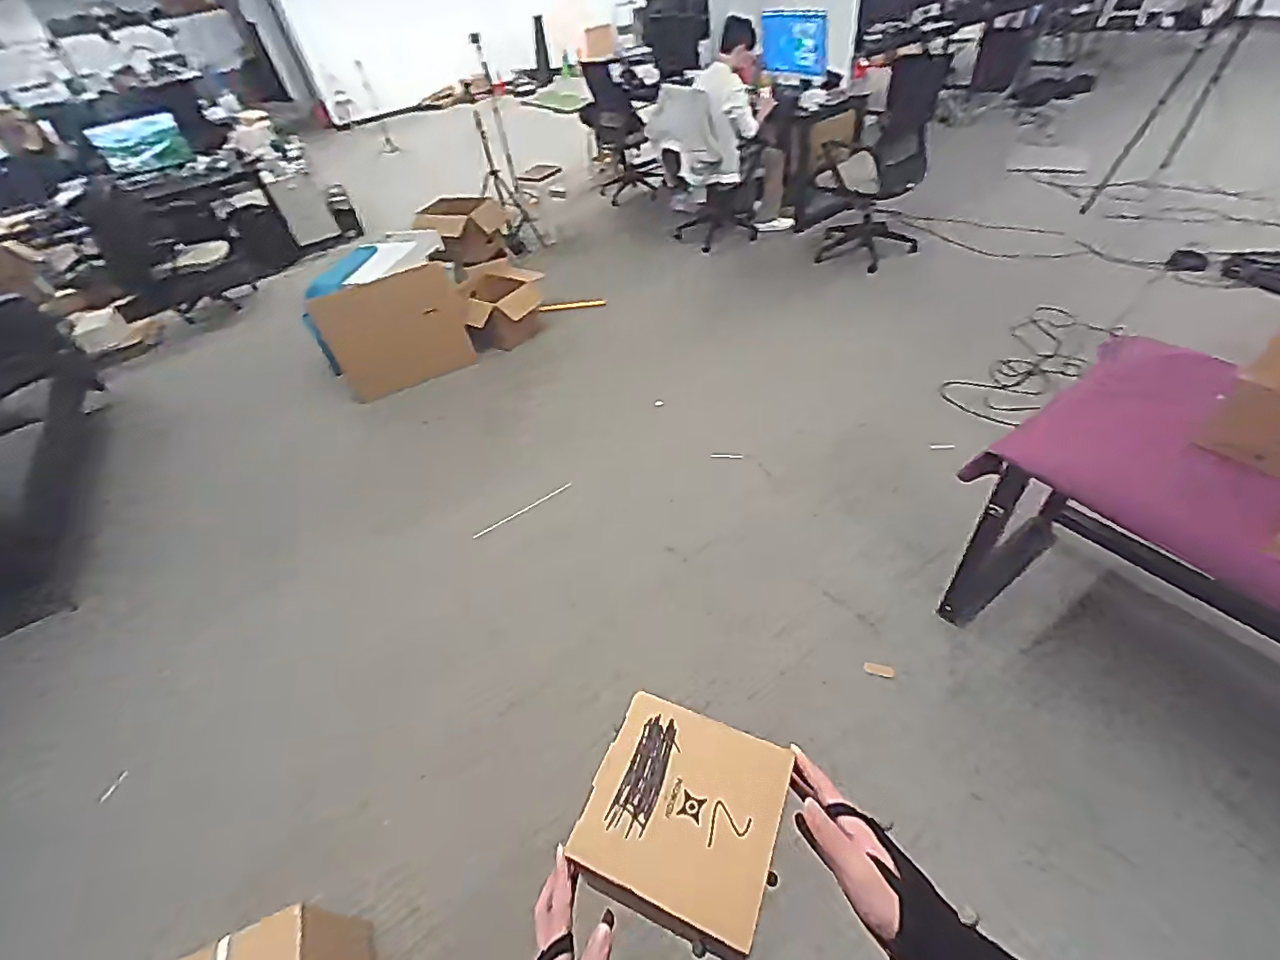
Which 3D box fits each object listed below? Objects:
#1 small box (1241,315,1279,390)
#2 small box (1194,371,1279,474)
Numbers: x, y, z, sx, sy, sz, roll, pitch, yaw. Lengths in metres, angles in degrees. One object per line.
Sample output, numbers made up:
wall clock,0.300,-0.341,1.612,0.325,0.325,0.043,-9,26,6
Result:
small box,1.259,-0.252,0.972,0.179,0.176,0.168,-30,48,-19
small box,1.285,-0.141,1.087,0.179,0.176,0.168,-30,49,-18
